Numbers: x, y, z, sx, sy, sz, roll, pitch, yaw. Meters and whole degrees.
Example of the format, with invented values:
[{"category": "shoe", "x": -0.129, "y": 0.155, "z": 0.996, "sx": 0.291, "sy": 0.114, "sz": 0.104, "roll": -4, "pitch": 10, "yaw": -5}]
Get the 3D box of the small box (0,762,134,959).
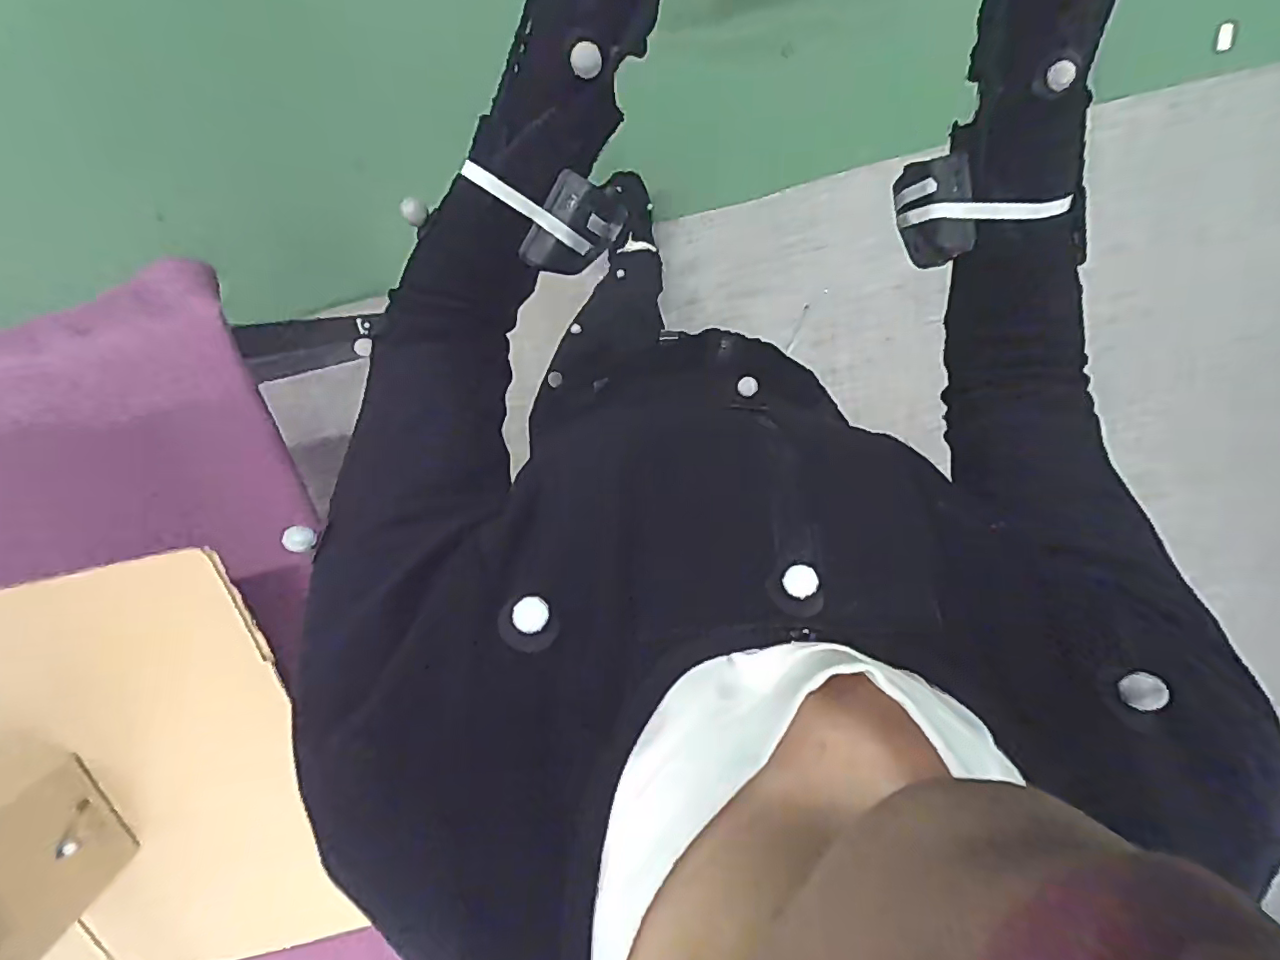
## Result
[{"category": "small box", "x": -0.739, "y": 0.446, "z": 0.596, "sx": 0.179, "sy": 0.176, "sz": 0.168, "roll": -10, "pitch": 108, "yaw": 4}]
